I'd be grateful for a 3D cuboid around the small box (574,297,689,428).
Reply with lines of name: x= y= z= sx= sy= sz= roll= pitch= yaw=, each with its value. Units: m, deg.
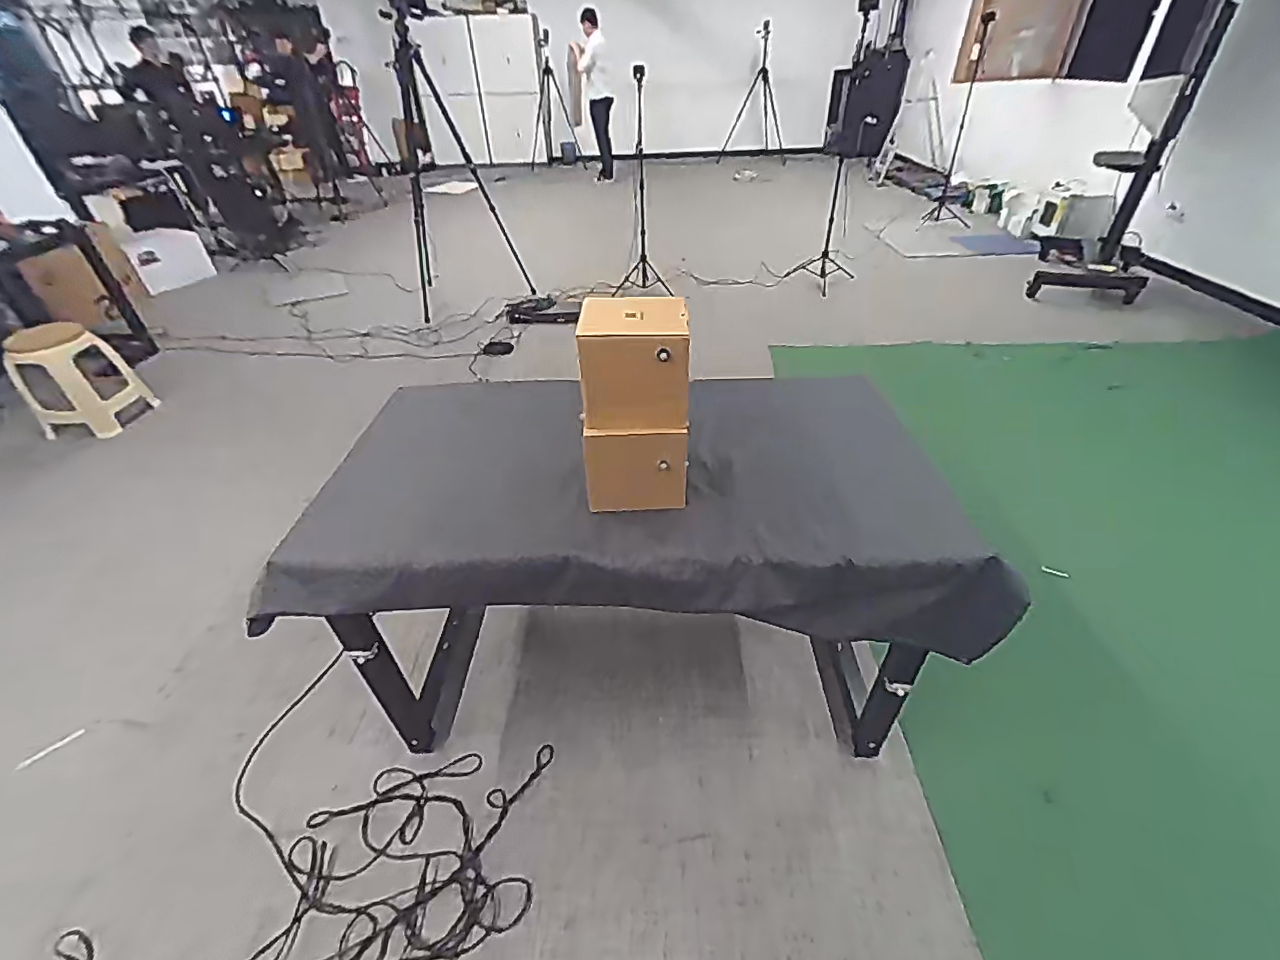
small box: x=-0.009 y=-0.198 z=0.916 sx=0.179 sy=0.176 sz=0.168 roll=0 pitch=38 yaw=1
